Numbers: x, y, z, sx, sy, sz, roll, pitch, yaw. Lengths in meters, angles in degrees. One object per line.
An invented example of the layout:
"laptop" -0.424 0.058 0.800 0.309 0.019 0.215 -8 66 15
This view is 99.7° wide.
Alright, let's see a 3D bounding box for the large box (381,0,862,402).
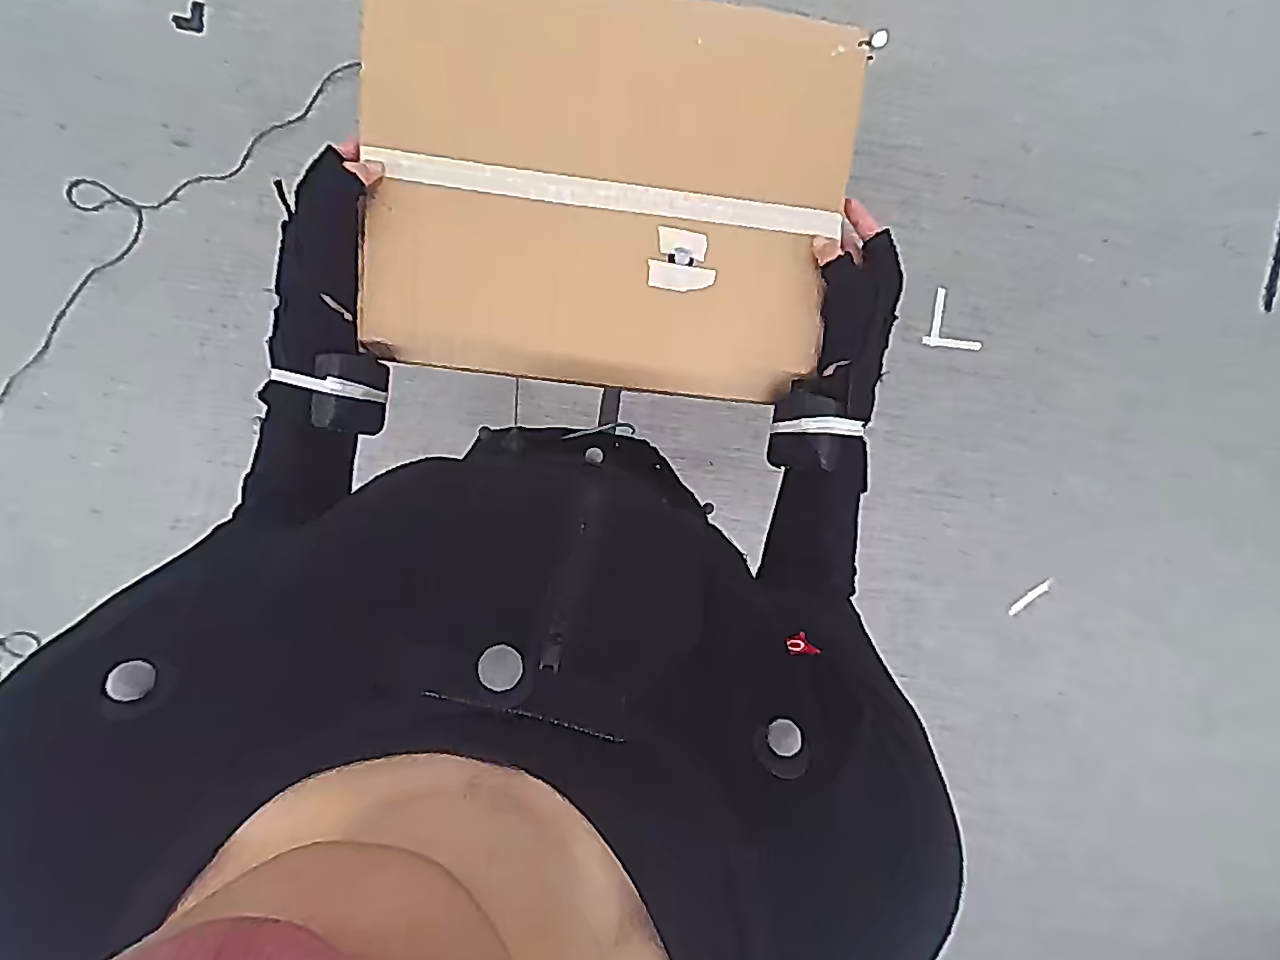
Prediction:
"large box" -0.032 -0.266 0.618 0.408 0.320 0.320 6 101 -6
